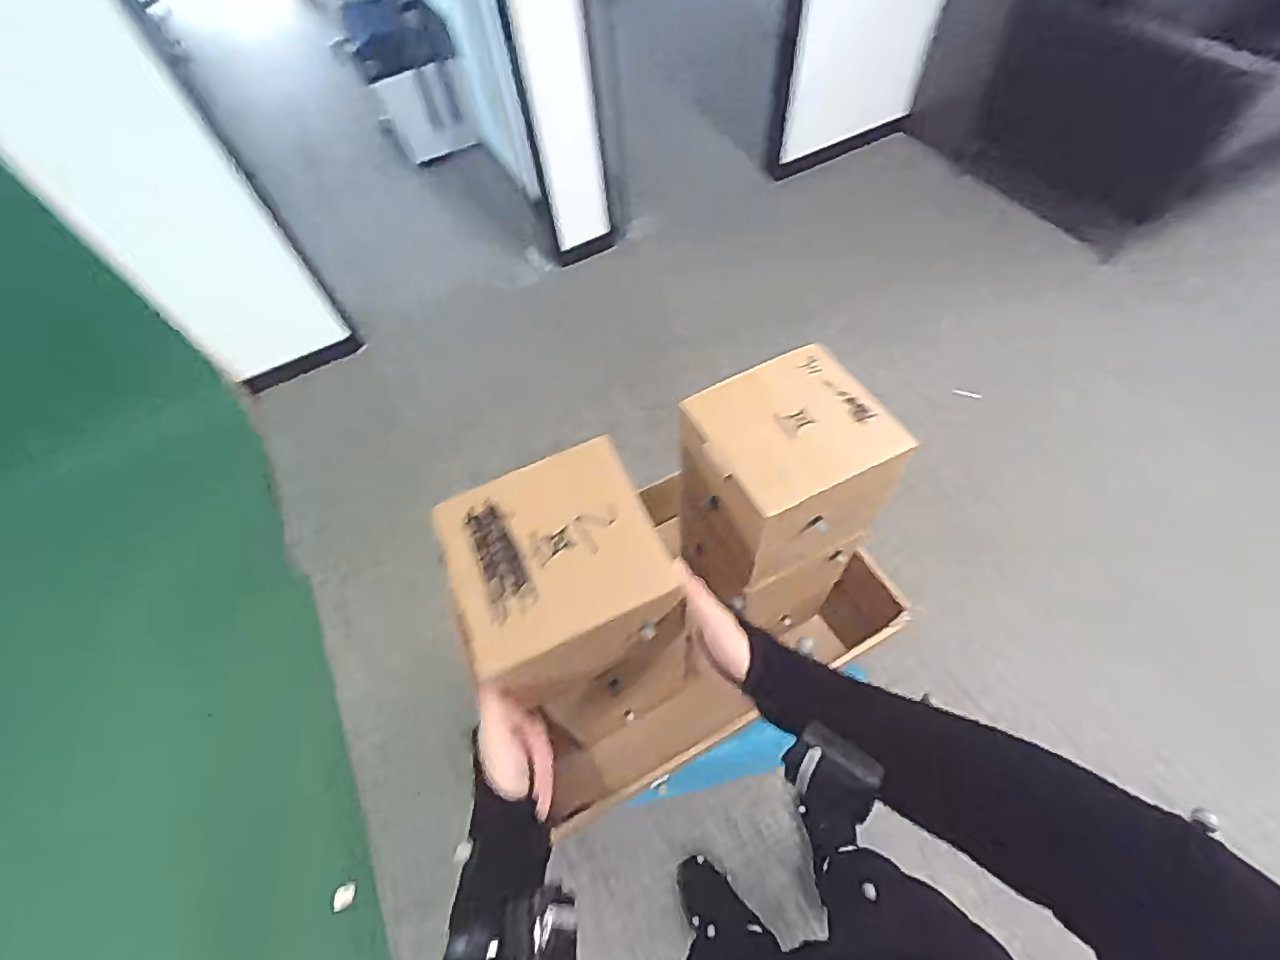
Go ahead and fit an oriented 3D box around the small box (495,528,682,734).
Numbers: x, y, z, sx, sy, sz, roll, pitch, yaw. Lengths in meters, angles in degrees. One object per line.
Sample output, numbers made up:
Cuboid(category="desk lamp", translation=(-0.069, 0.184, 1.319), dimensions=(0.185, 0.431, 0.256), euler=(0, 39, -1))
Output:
Cuboid(category="small box", translation=(-0.057, 0.198, 0.690), dimensions=(0.179, 0.176, 0.168), euler=(-25, 59, -12))
